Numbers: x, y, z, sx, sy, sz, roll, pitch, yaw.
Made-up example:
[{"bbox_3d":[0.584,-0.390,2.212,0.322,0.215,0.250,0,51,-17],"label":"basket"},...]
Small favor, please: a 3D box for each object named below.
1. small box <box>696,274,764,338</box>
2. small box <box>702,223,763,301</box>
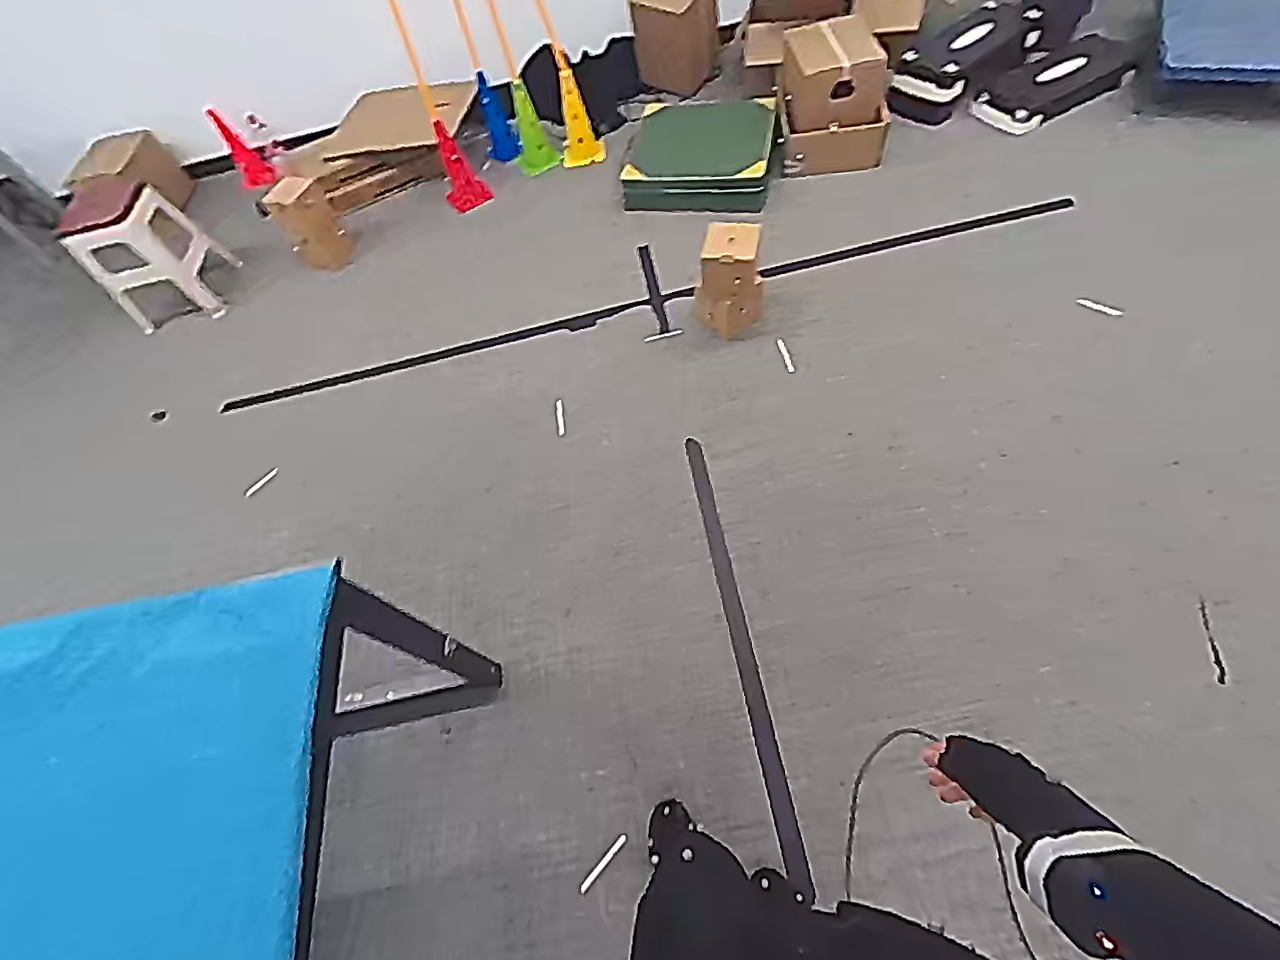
[{"bbox_3d":[0.320,-0.635,1.909,0.179,0.176,0.168,-41,61,-15],"label":"small box"},{"bbox_3d":[0.303,-0.708,1.761,0.168,0.176,0.179,8,61,13],"label":"small box"}]
